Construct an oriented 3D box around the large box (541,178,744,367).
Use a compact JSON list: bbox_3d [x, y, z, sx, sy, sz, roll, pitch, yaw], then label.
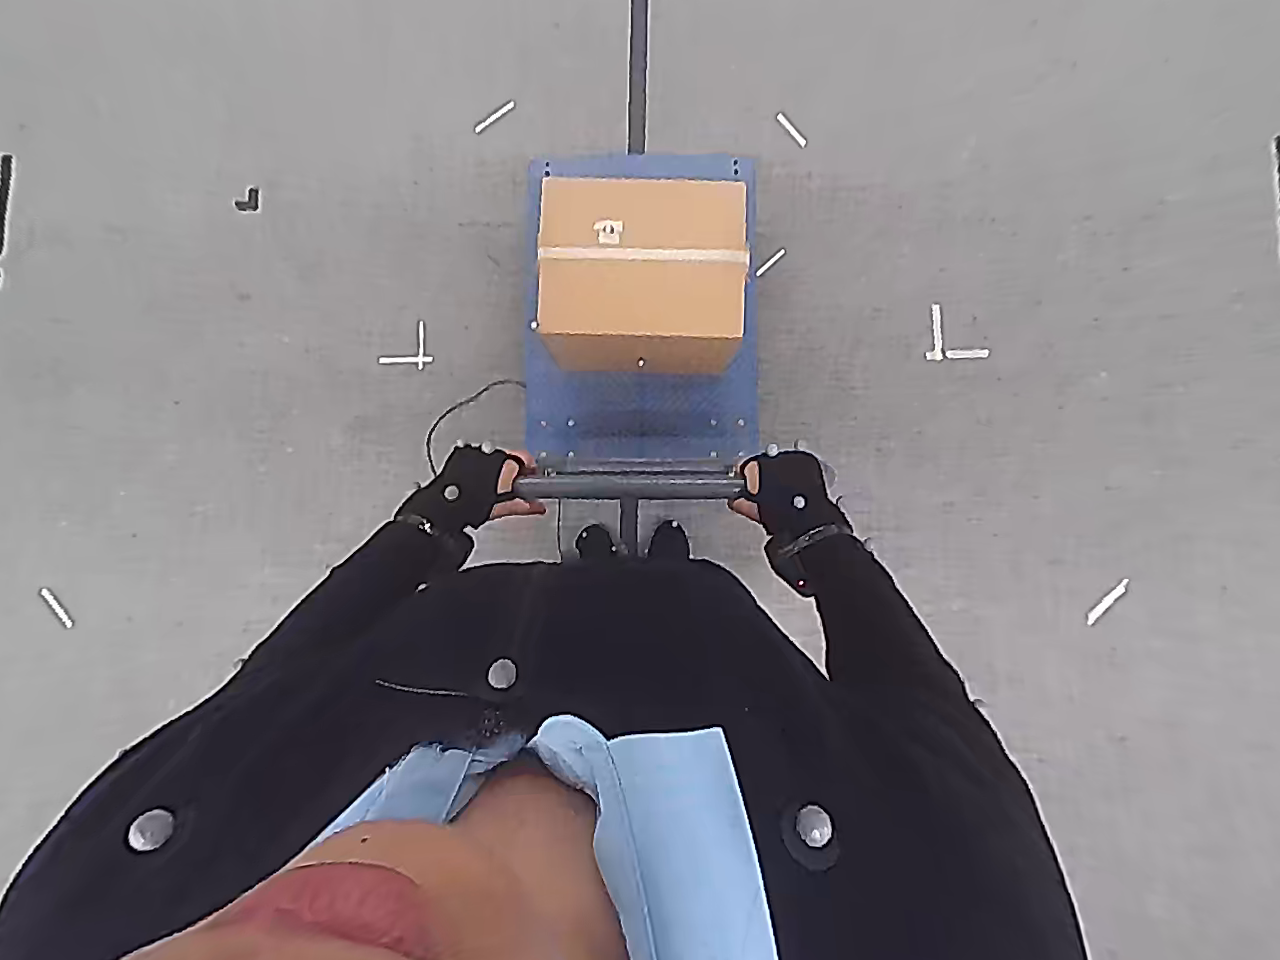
[{"bbox_3d":[0.011,-0.440,1.216,0.408,0.320,0.320,1,87,2],"label":"large box"}]
